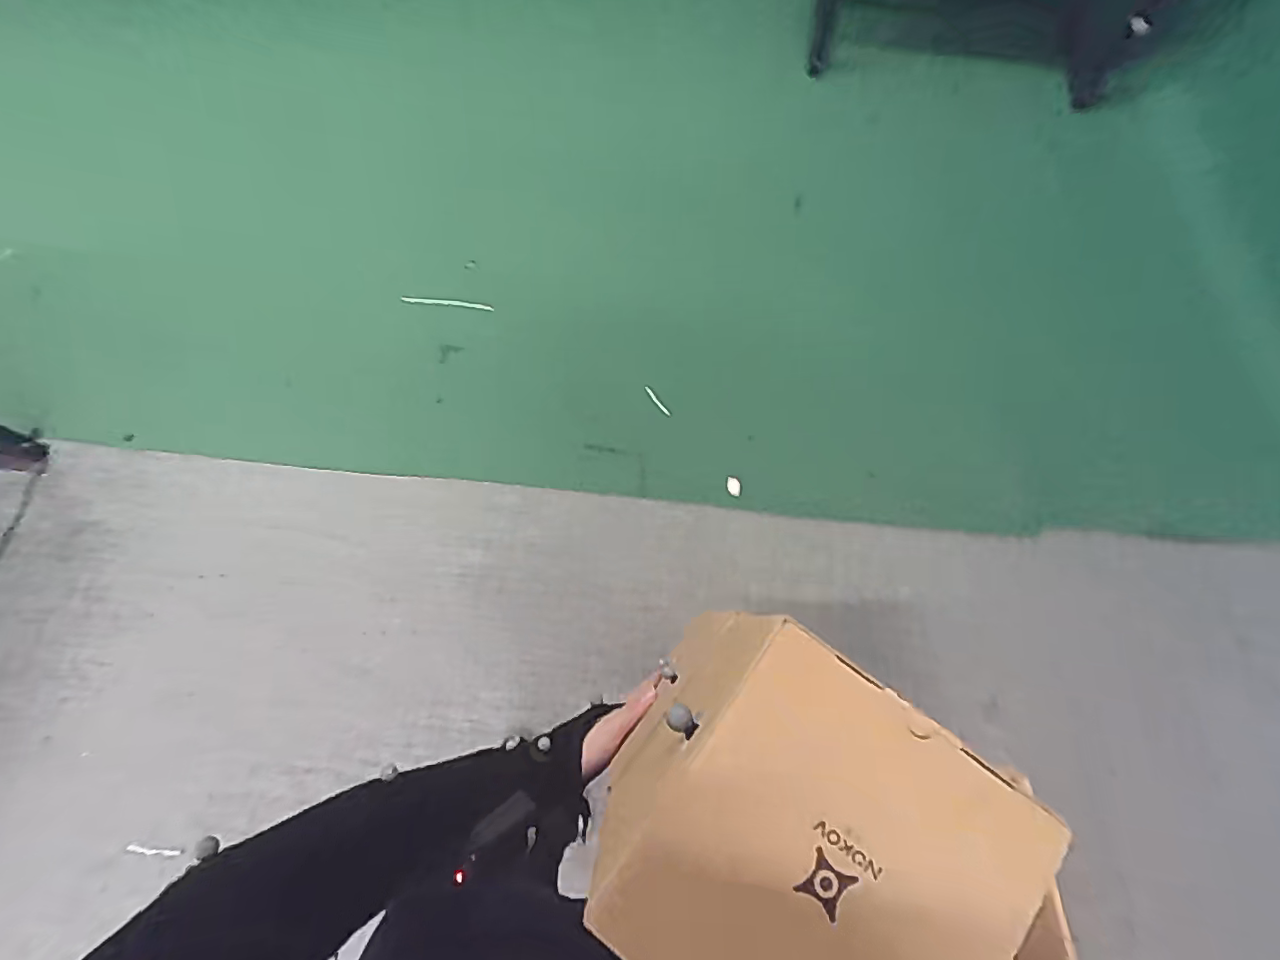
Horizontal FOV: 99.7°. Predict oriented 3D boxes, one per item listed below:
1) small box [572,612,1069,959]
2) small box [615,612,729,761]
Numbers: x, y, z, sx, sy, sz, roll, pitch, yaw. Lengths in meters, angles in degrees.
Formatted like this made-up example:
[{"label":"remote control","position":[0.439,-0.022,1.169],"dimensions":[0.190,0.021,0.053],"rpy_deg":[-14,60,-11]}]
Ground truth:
[{"label":"small box","position":[0.085,0.200,0.323],"dimensions":[0.168,0.176,0.179],"rpy_deg":[35,77,9]},{"label":"small box","position":[0.085,0.276,0.639],"dimensions":[0.168,0.176,0.179],"rpy_deg":[37,78,9]}]
